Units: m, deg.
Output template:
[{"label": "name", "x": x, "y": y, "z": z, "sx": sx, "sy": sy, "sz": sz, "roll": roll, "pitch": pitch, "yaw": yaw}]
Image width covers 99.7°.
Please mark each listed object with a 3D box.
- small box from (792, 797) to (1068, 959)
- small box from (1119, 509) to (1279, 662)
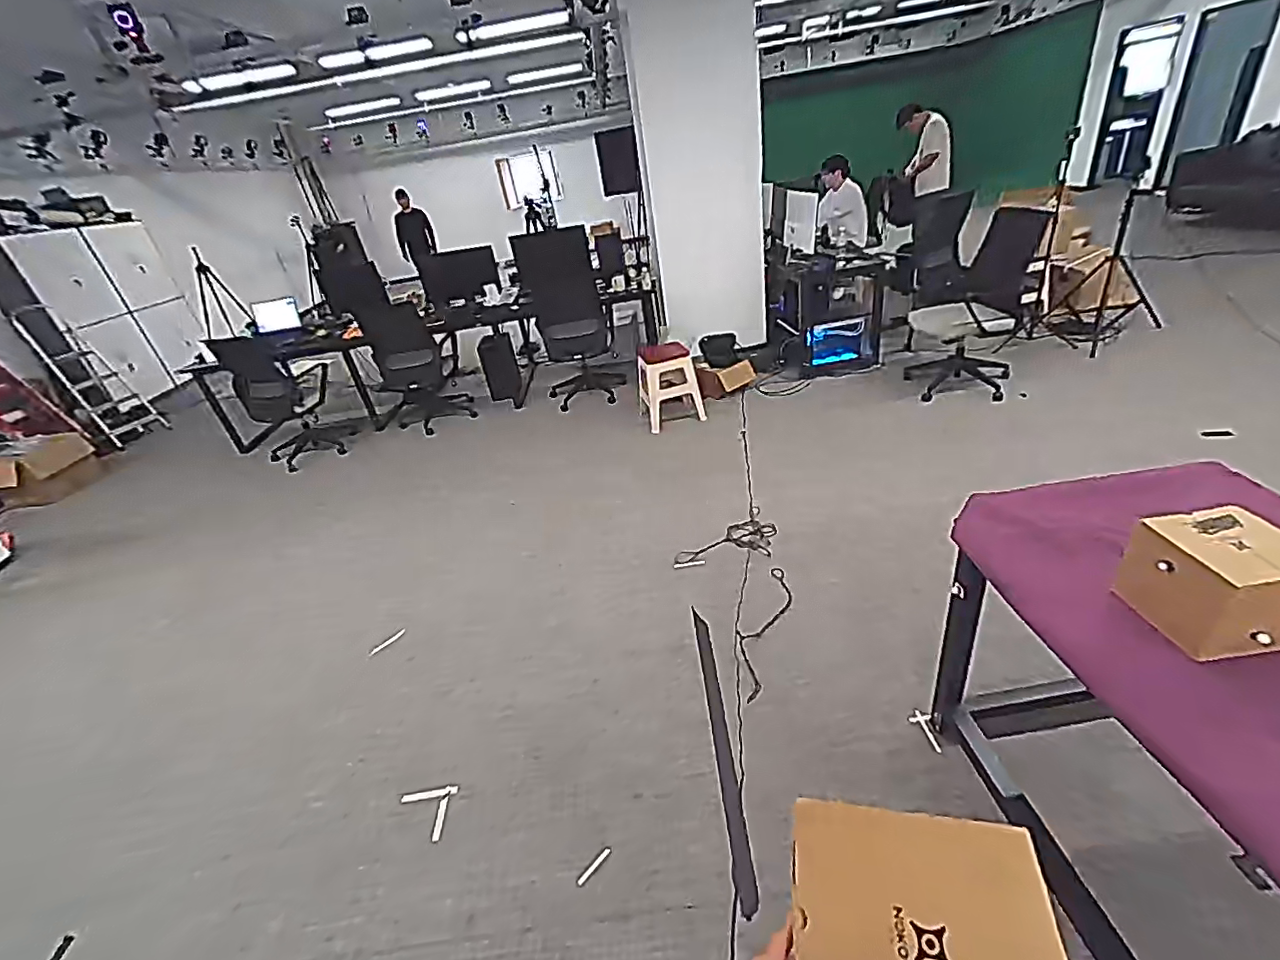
[{"label": "small box", "x": 0.211, "y": 0.379, "z": 0.423, "sx": 0.179, "sy": 0.176, "sz": 0.168, "roll": -2, "pitch": 40, "yaw": 16}, {"label": "small box", "x": 0.964, "y": 0.173, "z": 0.902, "sx": 0.168, "sy": 0.176, "sz": 0.179, "roll": -9, "pitch": 31, "yaw": 2}]
